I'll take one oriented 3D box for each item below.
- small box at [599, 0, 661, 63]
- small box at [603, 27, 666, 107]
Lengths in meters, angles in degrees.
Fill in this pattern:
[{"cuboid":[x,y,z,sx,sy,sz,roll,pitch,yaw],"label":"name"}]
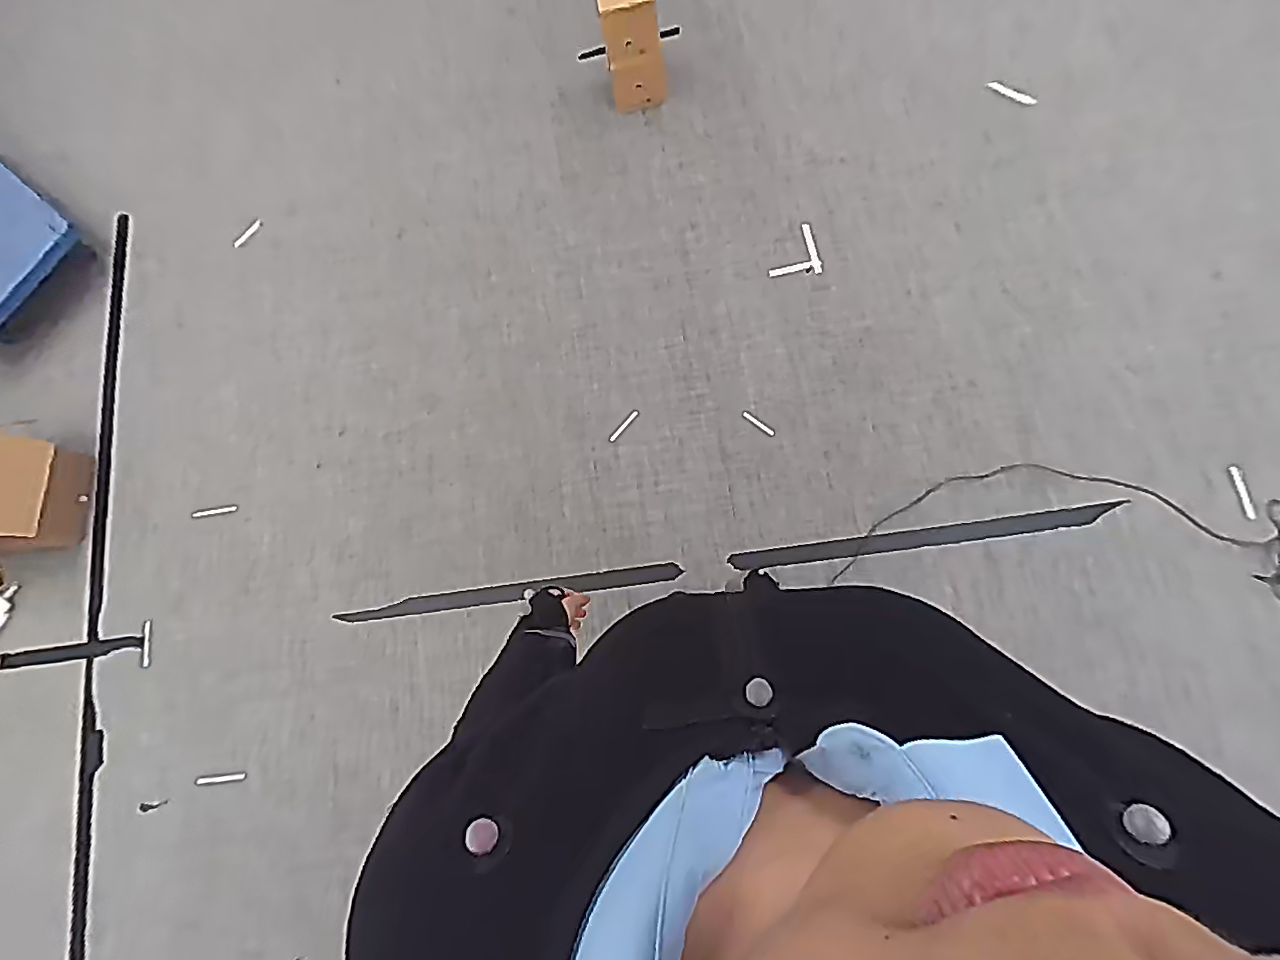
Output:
[{"cuboid":[-0.033,-1.409,1.619,0.168,0.176,0.179,-10,78,6],"label":"small box"},{"cuboid":[-0.014,-1.368,1.776,0.168,0.176,0.179,-12,77,5],"label":"small box"}]
